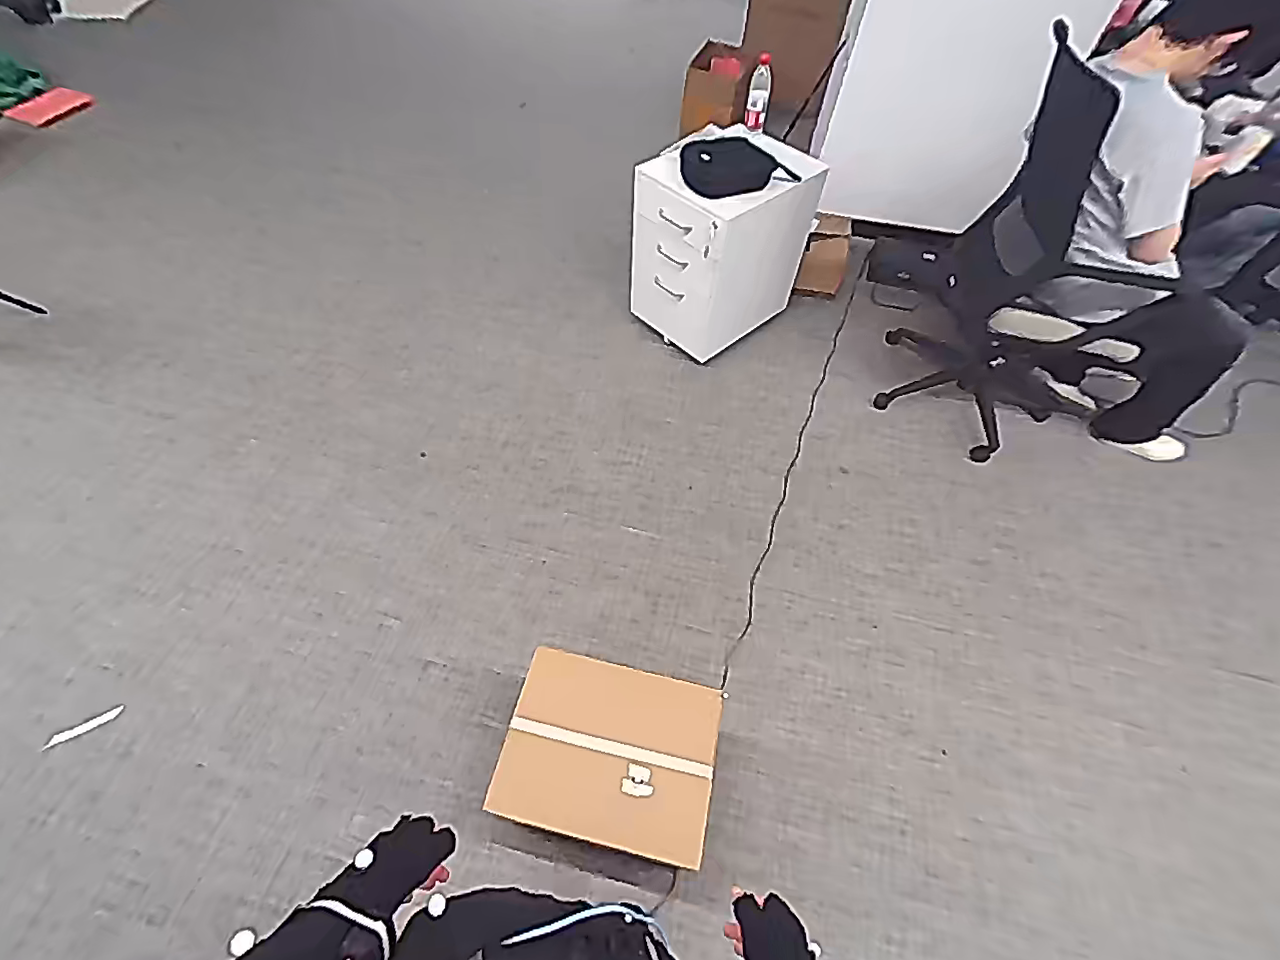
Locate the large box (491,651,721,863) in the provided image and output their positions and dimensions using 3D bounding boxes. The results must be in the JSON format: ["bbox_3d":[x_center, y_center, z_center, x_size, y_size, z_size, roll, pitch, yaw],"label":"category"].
[{"bbox_3d":[-0.063,0.610,1.188,0.408,0.320,0.320,12,57,5],"label":"large box"}]
